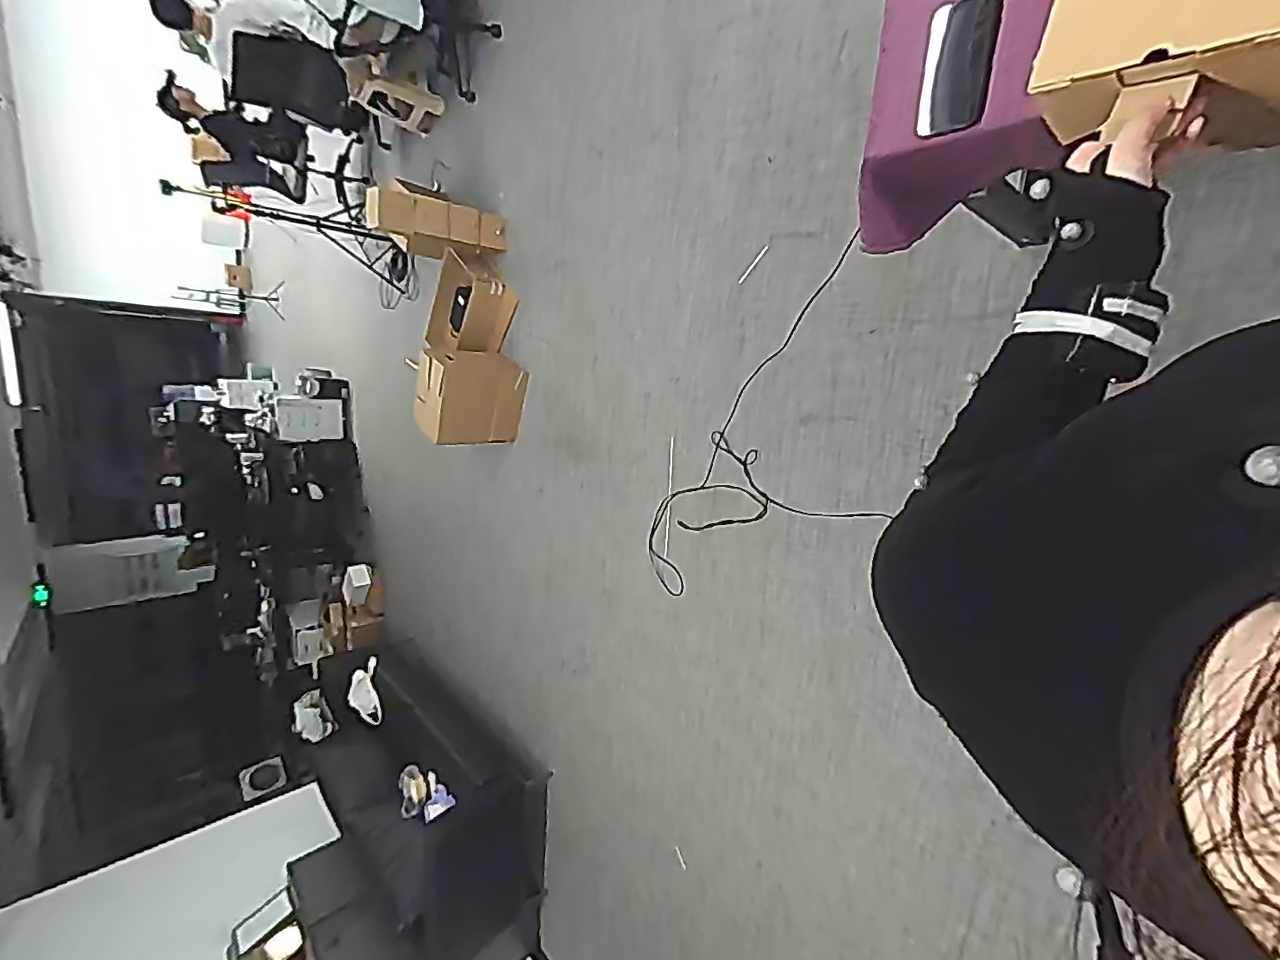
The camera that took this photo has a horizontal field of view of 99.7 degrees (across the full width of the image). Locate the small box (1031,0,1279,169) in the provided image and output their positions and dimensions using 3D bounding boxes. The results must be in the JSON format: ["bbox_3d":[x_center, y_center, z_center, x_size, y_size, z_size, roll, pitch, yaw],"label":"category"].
[{"bbox_3d":[0.457,-0.382,0.433,0.168,0.176,0.179,26,108,47],"label":"small box"}]
